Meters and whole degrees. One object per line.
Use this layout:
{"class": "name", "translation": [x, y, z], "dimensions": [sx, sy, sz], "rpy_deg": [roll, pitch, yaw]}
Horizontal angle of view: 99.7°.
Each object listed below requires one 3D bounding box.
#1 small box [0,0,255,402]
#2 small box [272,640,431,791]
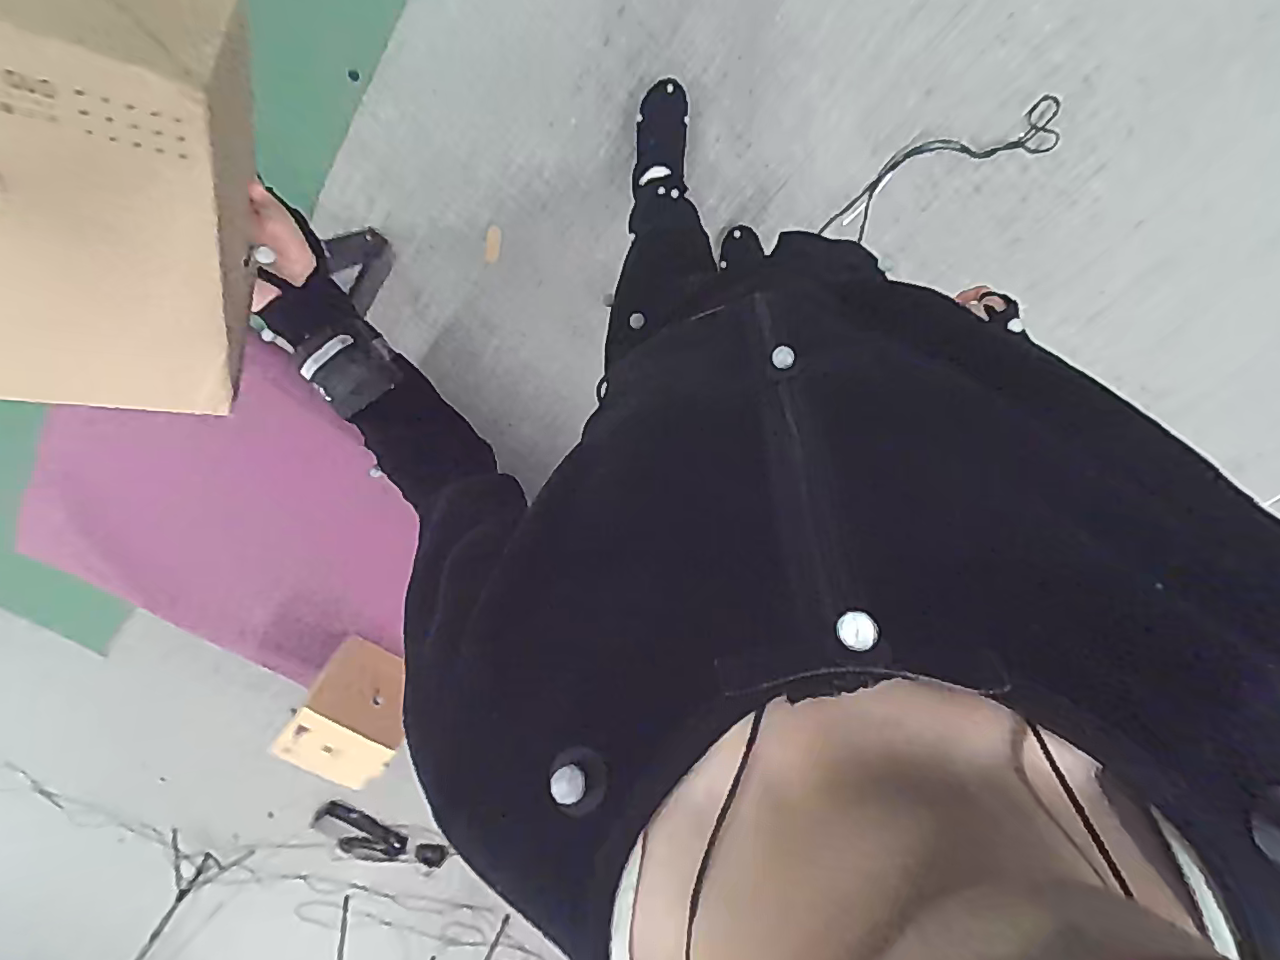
{"class": "small box", "translation": [-0.275, -0.162, 0.239], "dimensions": [0.168, 0.179, 0.176], "rpy_deg": [2, 140, -33]}
{"class": "small box", "translation": [-0.522, 0.433, 1.004], "dimensions": [0.179, 0.176, 0.168], "rpy_deg": [36, 114, -18]}
